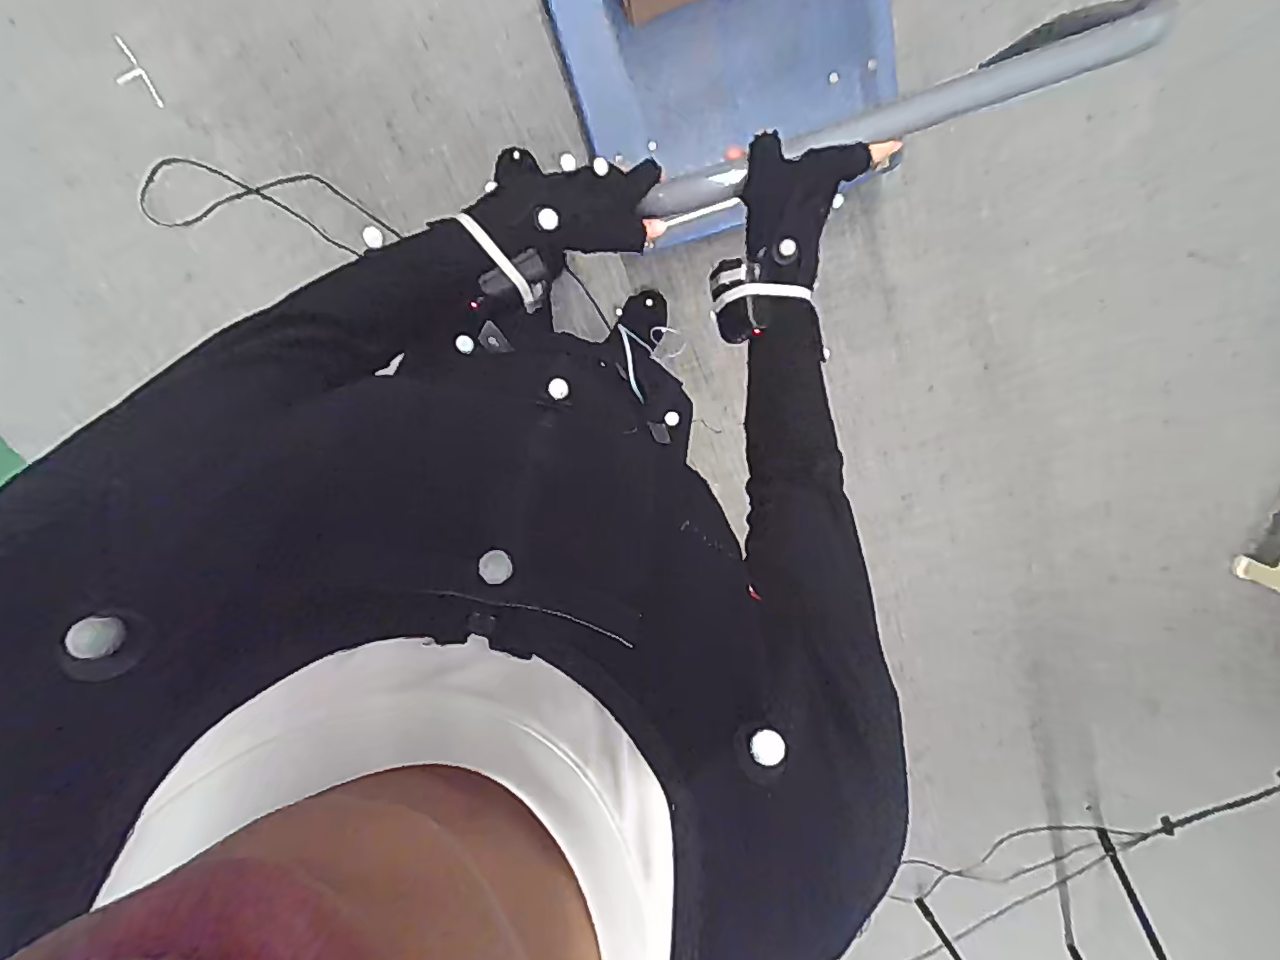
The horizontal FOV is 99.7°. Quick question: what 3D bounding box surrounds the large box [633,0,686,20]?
[{"bbox_3d":[0.128,-0.950,0.751,0.408,0.320,0.320,-18,114,11],"label":"large box"}]
